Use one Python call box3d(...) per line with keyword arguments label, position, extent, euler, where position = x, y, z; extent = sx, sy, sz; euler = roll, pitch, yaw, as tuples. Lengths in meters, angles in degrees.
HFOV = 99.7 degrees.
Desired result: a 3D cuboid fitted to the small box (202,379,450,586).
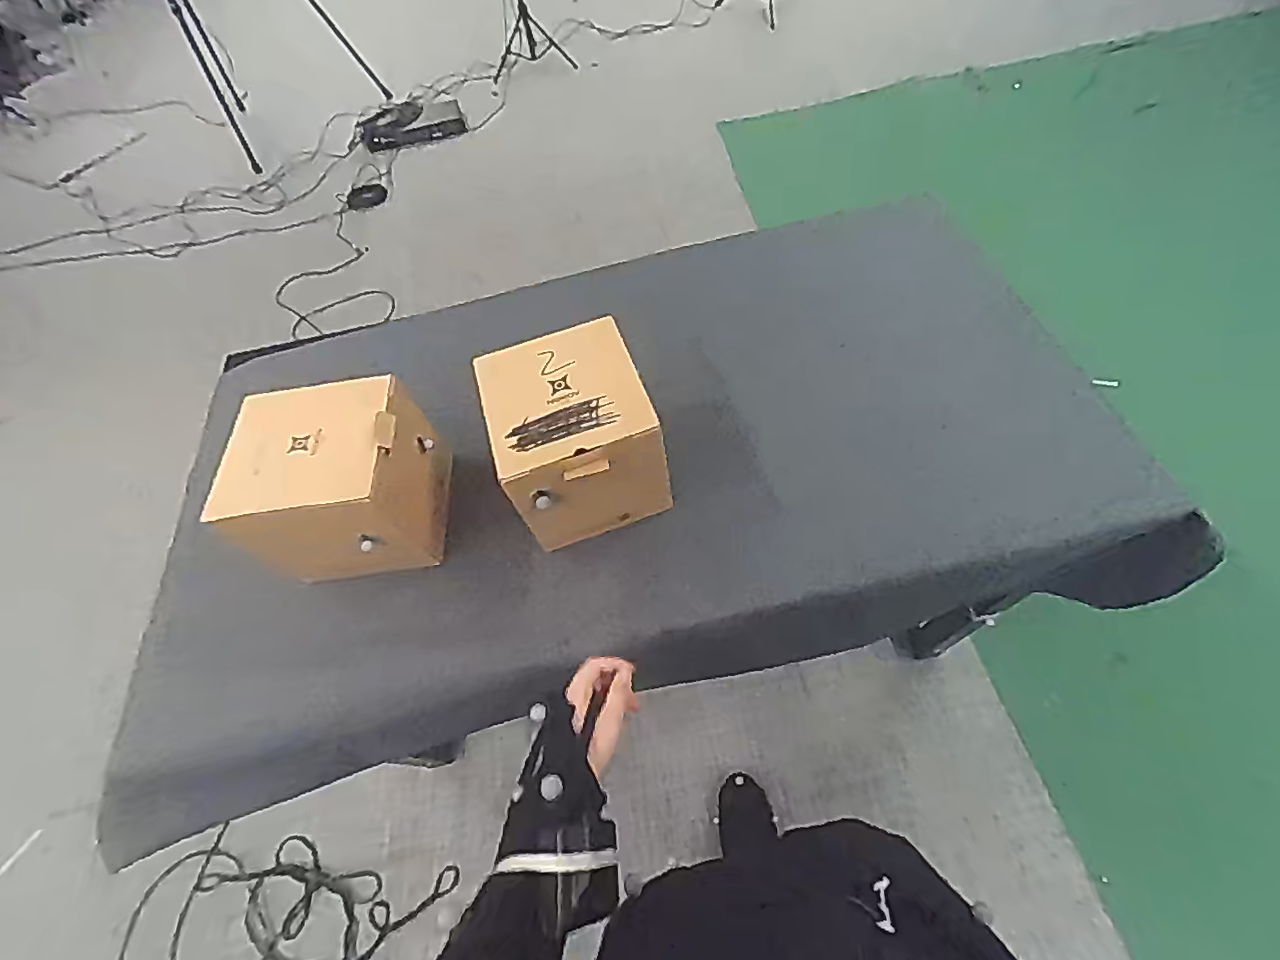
box3d(label="small box", position=(-0.340, 0.010, 0.632), extent=(0.179, 0.176, 0.168), euler=(-9, 57, 3))
